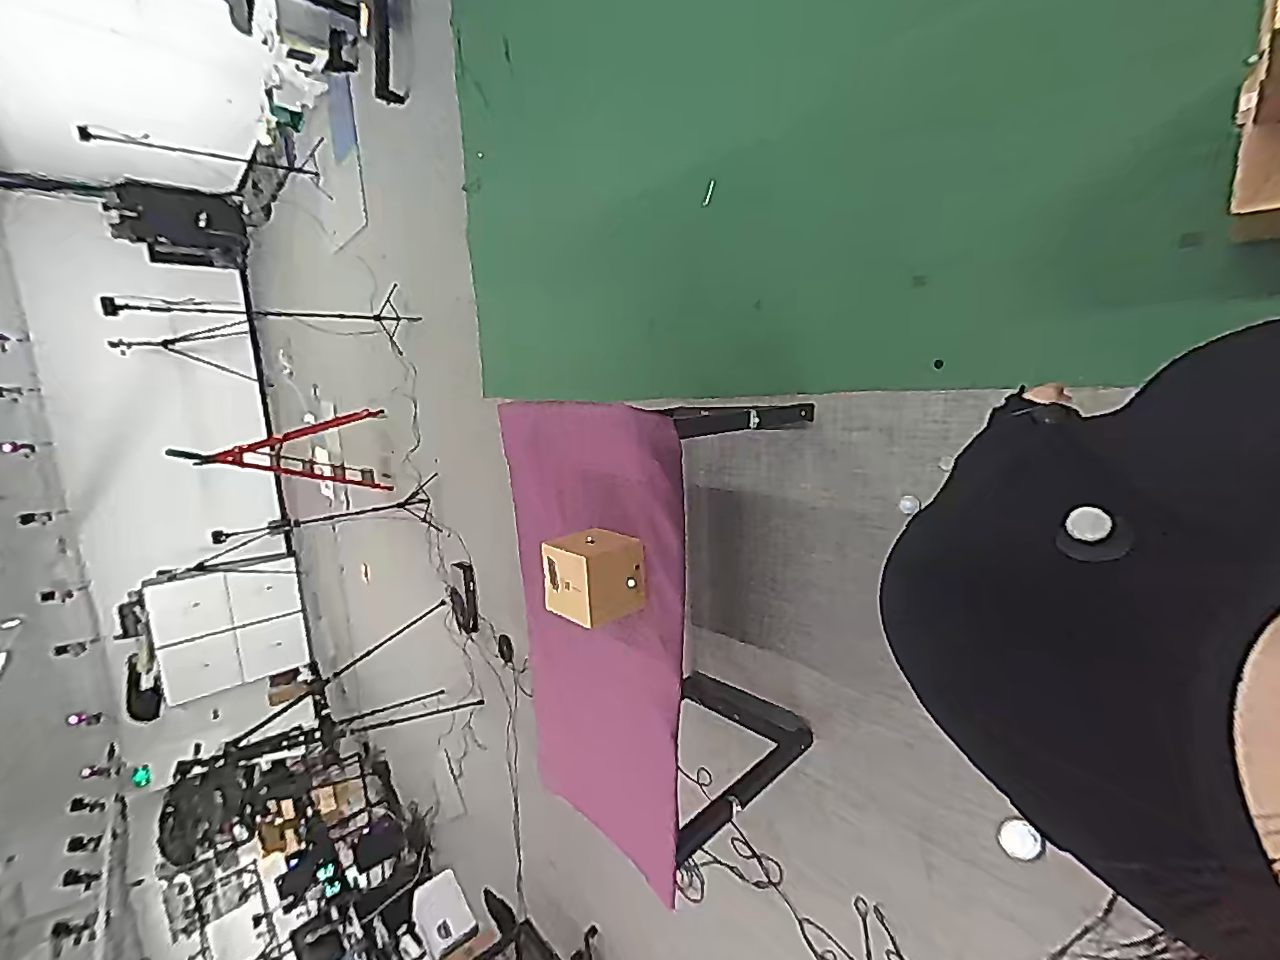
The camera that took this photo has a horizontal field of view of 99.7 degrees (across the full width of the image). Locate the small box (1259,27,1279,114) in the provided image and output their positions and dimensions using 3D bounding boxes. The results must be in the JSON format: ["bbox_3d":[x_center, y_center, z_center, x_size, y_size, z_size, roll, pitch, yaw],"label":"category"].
[{"bbox_3d":[0.866,-0.574,0.634,0.168,0.176,0.179,10,106,46],"label":"small box"}]

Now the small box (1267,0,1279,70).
[{"bbox_3d":[0.747,-0.547,0.523,0.168,0.176,0.179,9,105,46],"label":"small box"}]

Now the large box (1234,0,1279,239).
[{"bbox_3d":[1.117,-0.548,0.728,0.408,0.320,0.320,10,106,46],"label":"large box"}]

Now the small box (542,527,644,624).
[{"bbox_3d":[-0.109,0.212,1.263,0.179,0.176,0.168,8,105,47],"label":"small box"}]
